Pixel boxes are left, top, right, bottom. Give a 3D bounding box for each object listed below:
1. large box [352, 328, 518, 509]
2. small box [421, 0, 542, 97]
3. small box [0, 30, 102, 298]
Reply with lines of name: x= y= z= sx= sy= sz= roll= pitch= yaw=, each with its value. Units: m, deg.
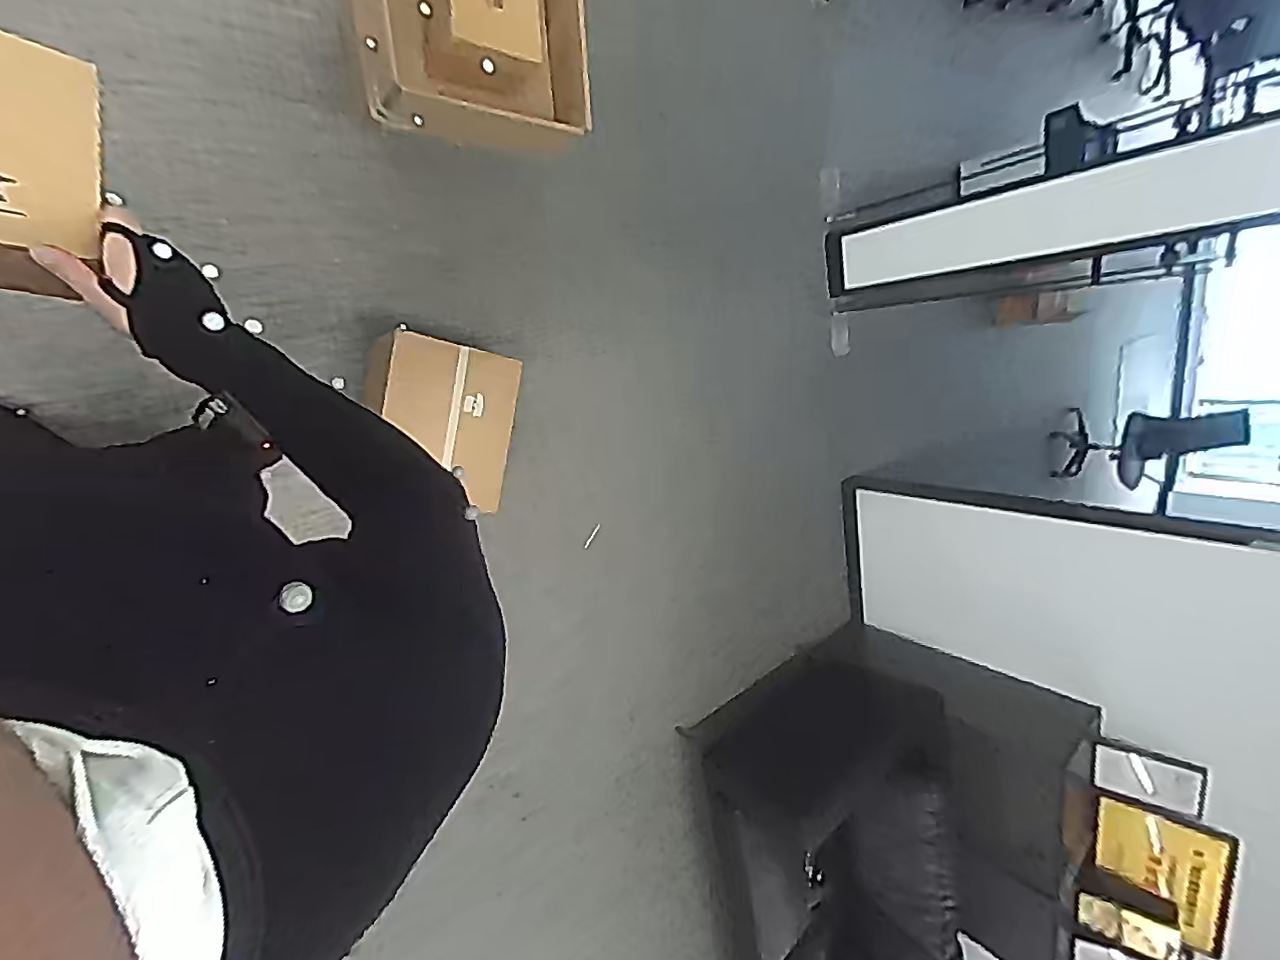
large box: x=-0.550 y=-0.148 z=1.431 sx=0.320 sy=0.320 sz=0.408 roll=8 pitch=91 yaw=-38
small box: x=-0.310 y=-0.882 z=1.052 sx=0.179 sy=0.176 sz=0.168 roll=-10 pitch=103 yaw=-34
small box: x=-0.588 y=-0.273 z=0.471 sx=0.168 sy=0.176 sz=0.179 roll=-3 pitch=92 yaw=-45
